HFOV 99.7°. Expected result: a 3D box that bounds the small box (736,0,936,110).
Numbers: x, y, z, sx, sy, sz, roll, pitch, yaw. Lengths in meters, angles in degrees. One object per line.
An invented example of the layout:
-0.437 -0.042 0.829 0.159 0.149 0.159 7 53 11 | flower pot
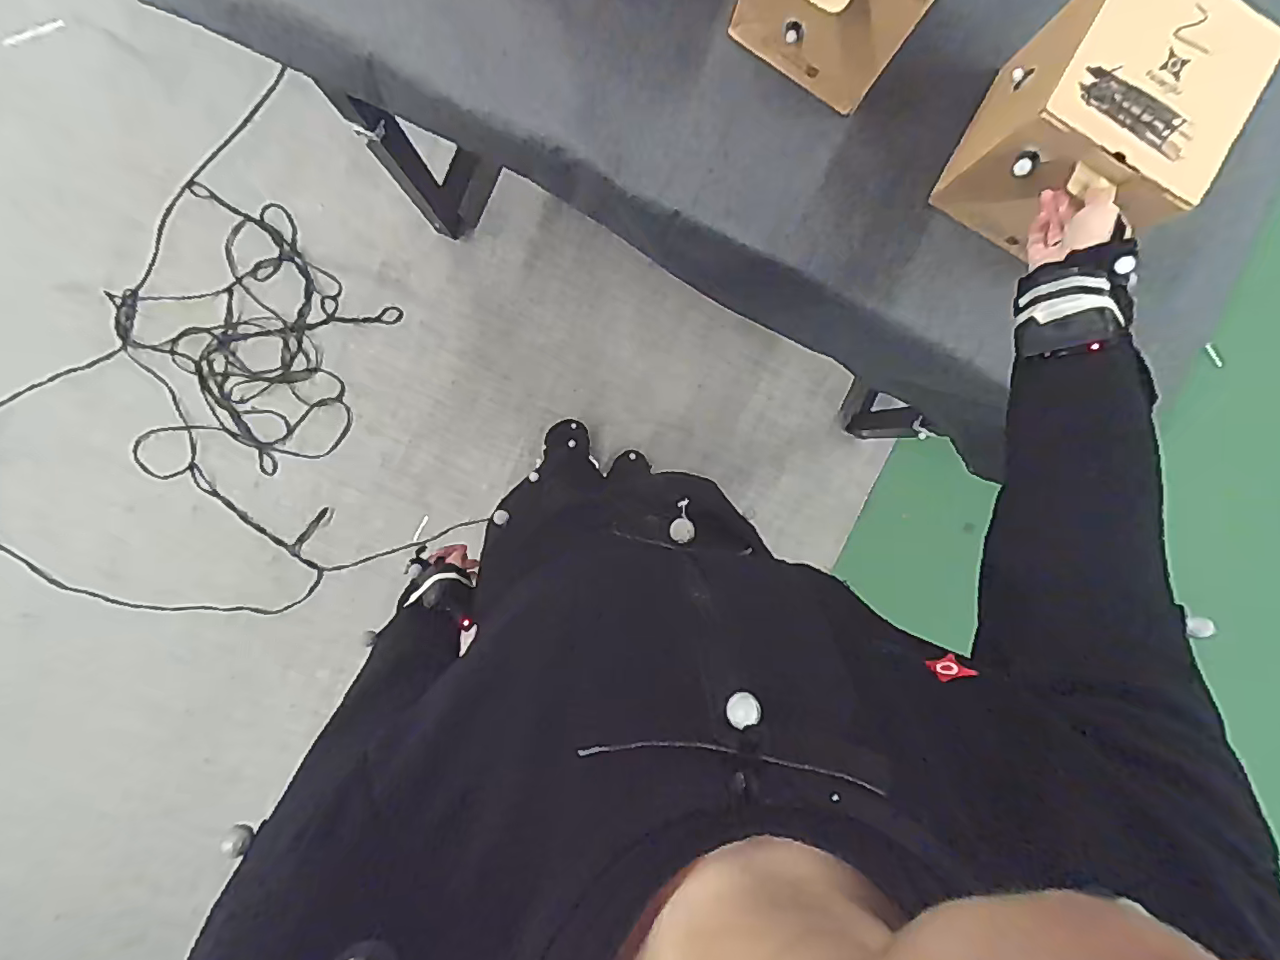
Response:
0.213 -0.516 0.514 0.168 0.176 0.179 31 91 -5 | small box
